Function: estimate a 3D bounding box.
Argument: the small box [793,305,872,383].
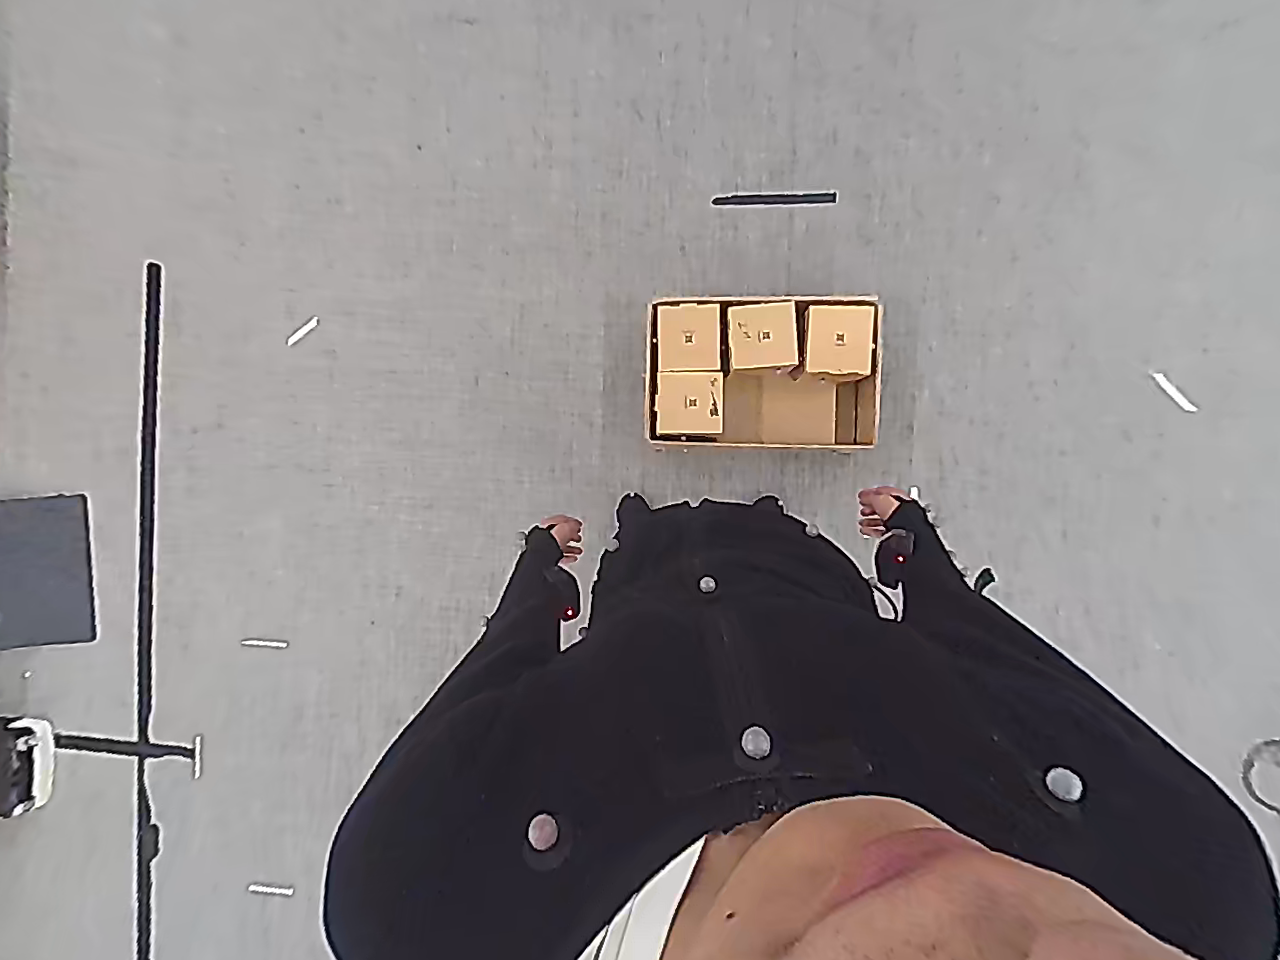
[{"bbox_3d":[0.518,-0.367,1.476,0.168,0.176,0.179,2,94,6],"label":"small box"}]
